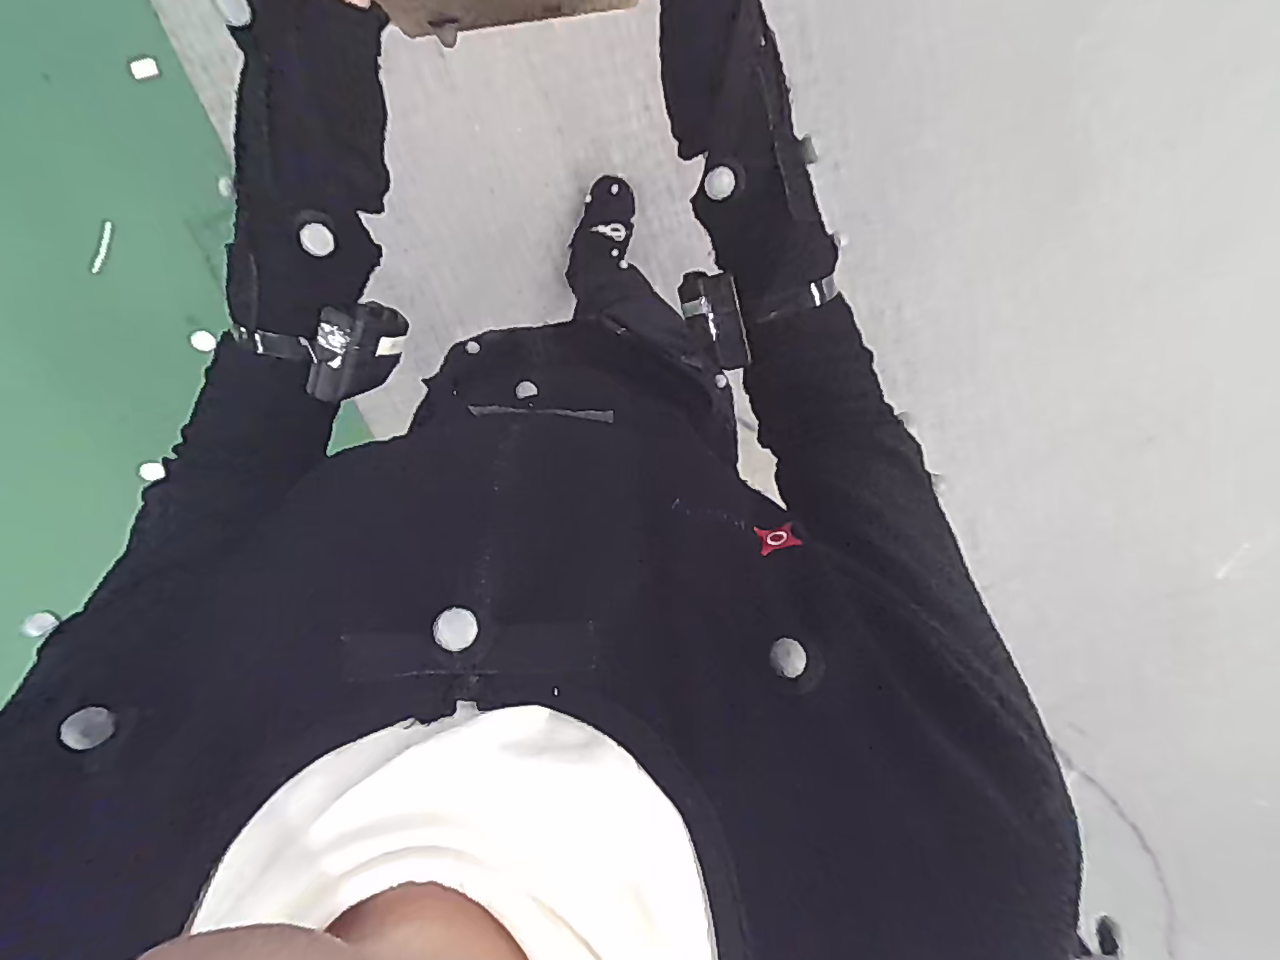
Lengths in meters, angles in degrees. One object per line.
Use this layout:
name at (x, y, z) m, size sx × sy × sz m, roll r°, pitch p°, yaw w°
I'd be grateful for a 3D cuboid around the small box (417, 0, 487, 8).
small box at (-0.086, -0.373, 0.268) m, size 0.168 × 0.176 × 0.179 m, roll -9°, pitch 115°, yaw -1°
